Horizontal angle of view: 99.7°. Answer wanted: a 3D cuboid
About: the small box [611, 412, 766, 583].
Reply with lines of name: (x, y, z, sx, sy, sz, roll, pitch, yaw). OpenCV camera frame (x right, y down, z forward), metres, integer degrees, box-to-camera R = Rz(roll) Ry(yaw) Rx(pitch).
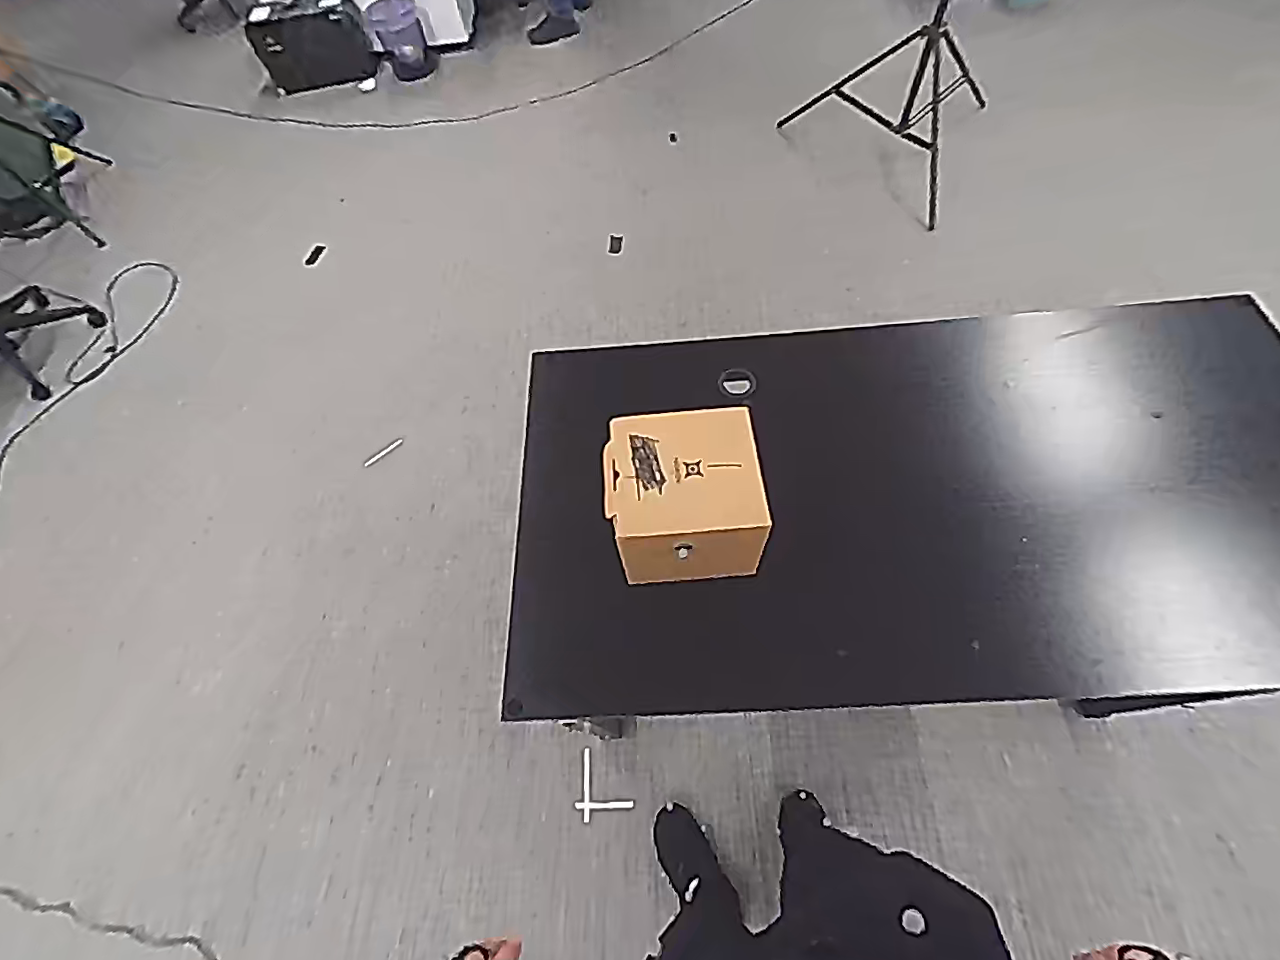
small box: (0.060, 0.031, 0.721, 0.179, 0.176, 0.168, -5, 61, 2)
